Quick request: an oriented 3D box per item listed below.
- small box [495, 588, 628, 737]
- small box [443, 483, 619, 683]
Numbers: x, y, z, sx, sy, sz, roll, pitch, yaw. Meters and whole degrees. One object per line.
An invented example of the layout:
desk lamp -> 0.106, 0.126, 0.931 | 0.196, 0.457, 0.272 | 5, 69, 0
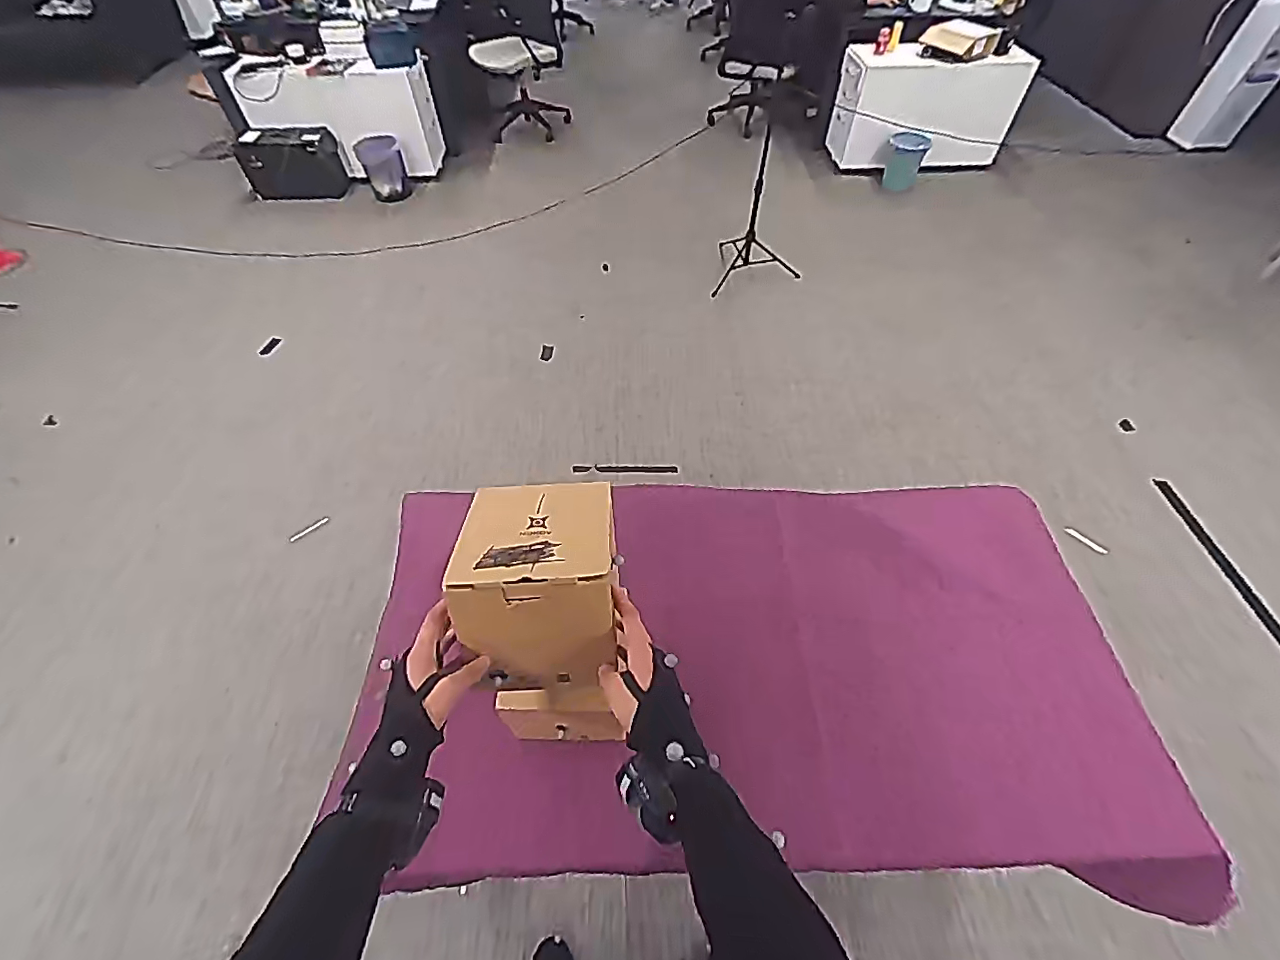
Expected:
small box -> -0.104, 0.273, 0.804 | 0.168, 0.176, 0.179 | 2, 53, 0
small box -> -0.112, 0.123, 0.642 | 0.168, 0.176, 0.179 | -3, 33, -1
